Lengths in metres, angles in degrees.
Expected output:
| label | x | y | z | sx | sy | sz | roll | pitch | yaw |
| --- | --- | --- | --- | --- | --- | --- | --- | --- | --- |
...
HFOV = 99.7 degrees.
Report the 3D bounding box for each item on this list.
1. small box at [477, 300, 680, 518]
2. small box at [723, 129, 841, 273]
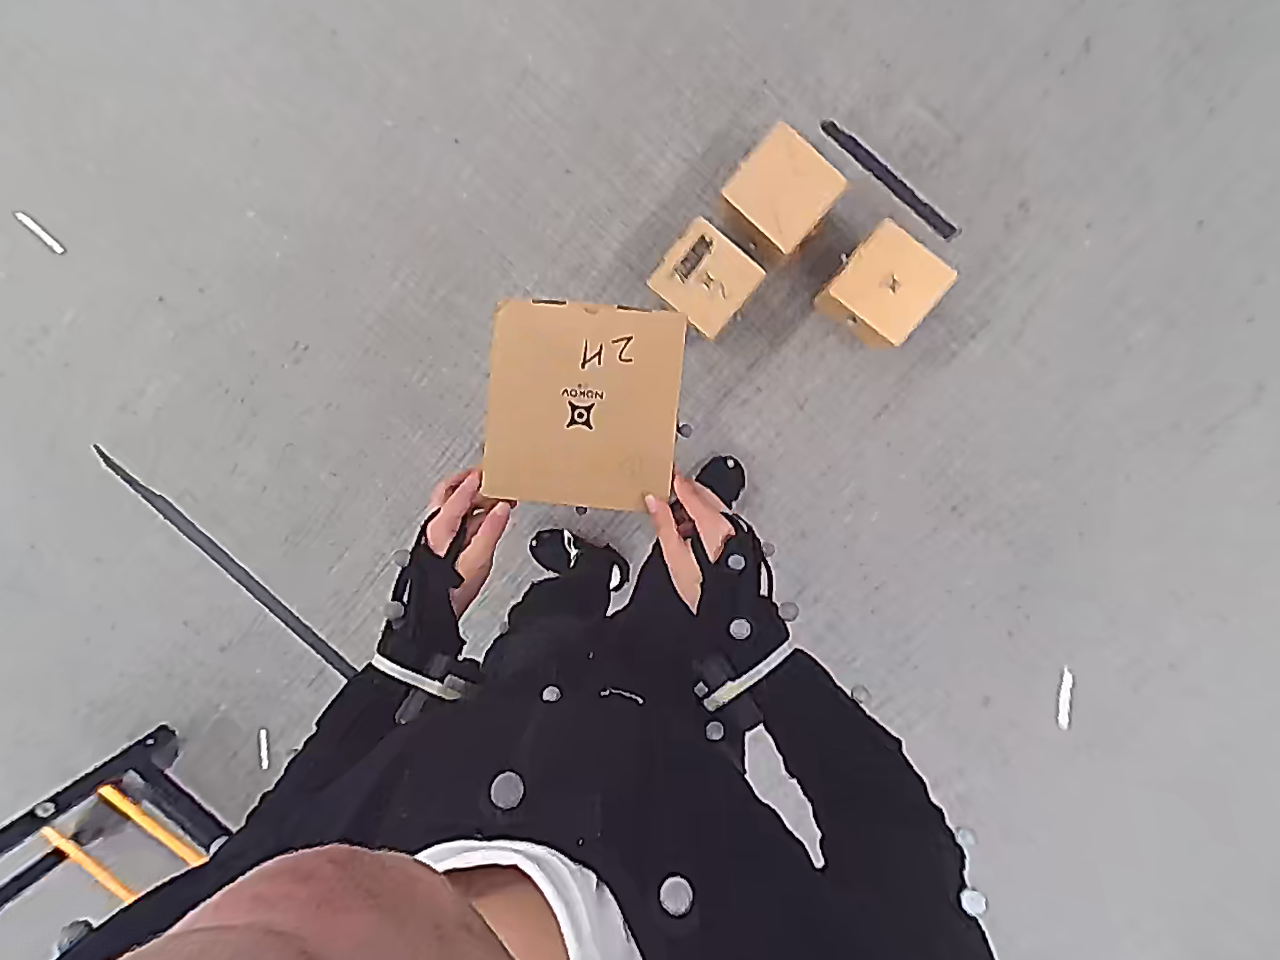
| label | x | y | z | sx | sy | sz | roll | pitch | yaw |
| --- | --- | --- | --- | --- | --- | --- | --- | --- | --- |
| small box | -0.050 | -0.063 | 0.541 | 0.168 | 0.176 | 0.179 | 5 | 91 | 2 |
| small box | 0.284 | -0.557 | 1.099 | 0.179 | 0.176 | 0.168 | 43 | 102 | -2 |
